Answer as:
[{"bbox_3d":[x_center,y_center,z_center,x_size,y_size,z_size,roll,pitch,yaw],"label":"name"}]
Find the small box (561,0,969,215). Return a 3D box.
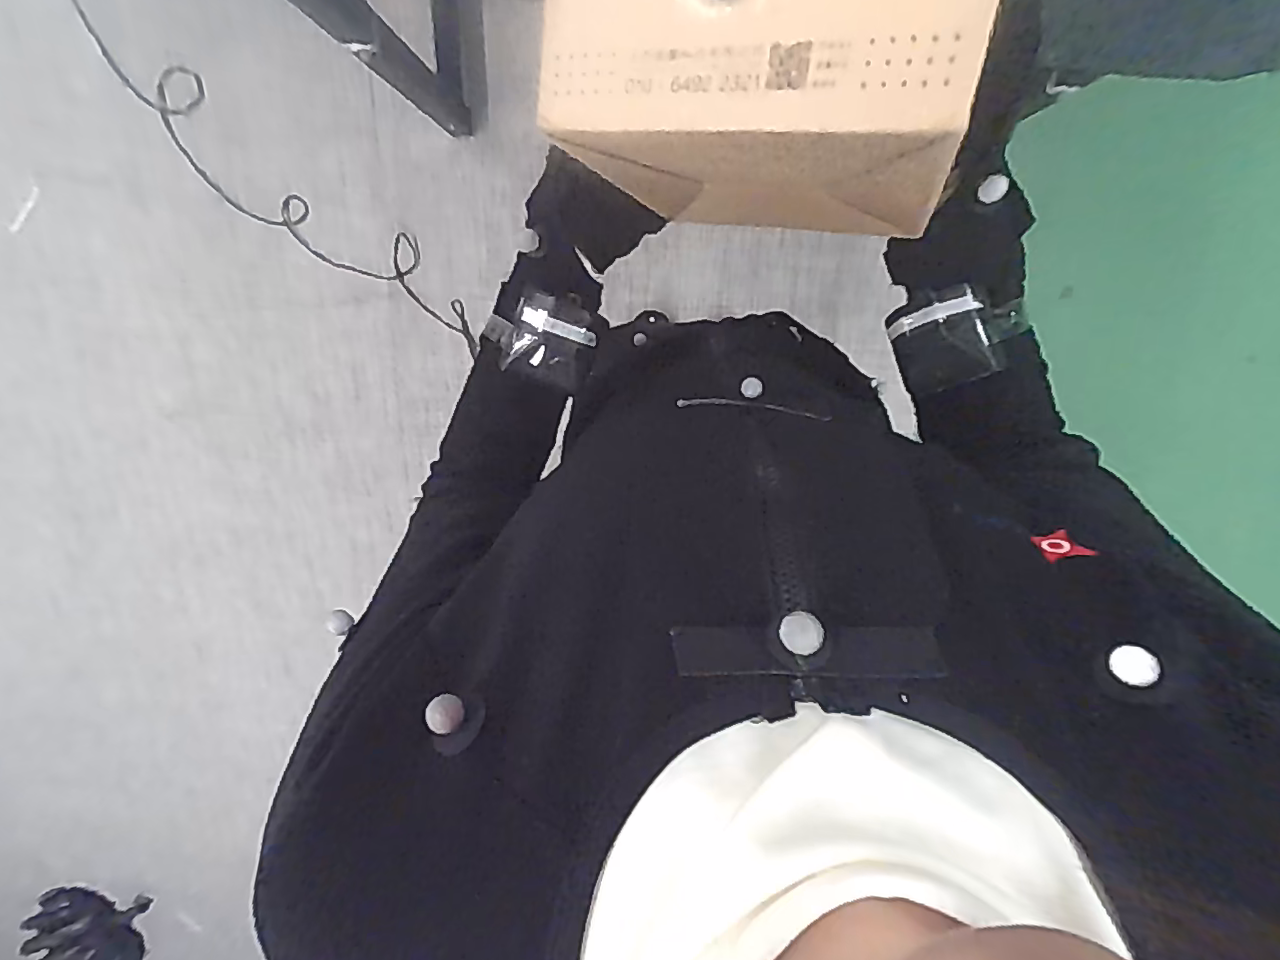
[{"bbox_3d":[0.072,-0.238,0.268,0.168,0.179,0.176,13,106,21],"label":"small box"}]
